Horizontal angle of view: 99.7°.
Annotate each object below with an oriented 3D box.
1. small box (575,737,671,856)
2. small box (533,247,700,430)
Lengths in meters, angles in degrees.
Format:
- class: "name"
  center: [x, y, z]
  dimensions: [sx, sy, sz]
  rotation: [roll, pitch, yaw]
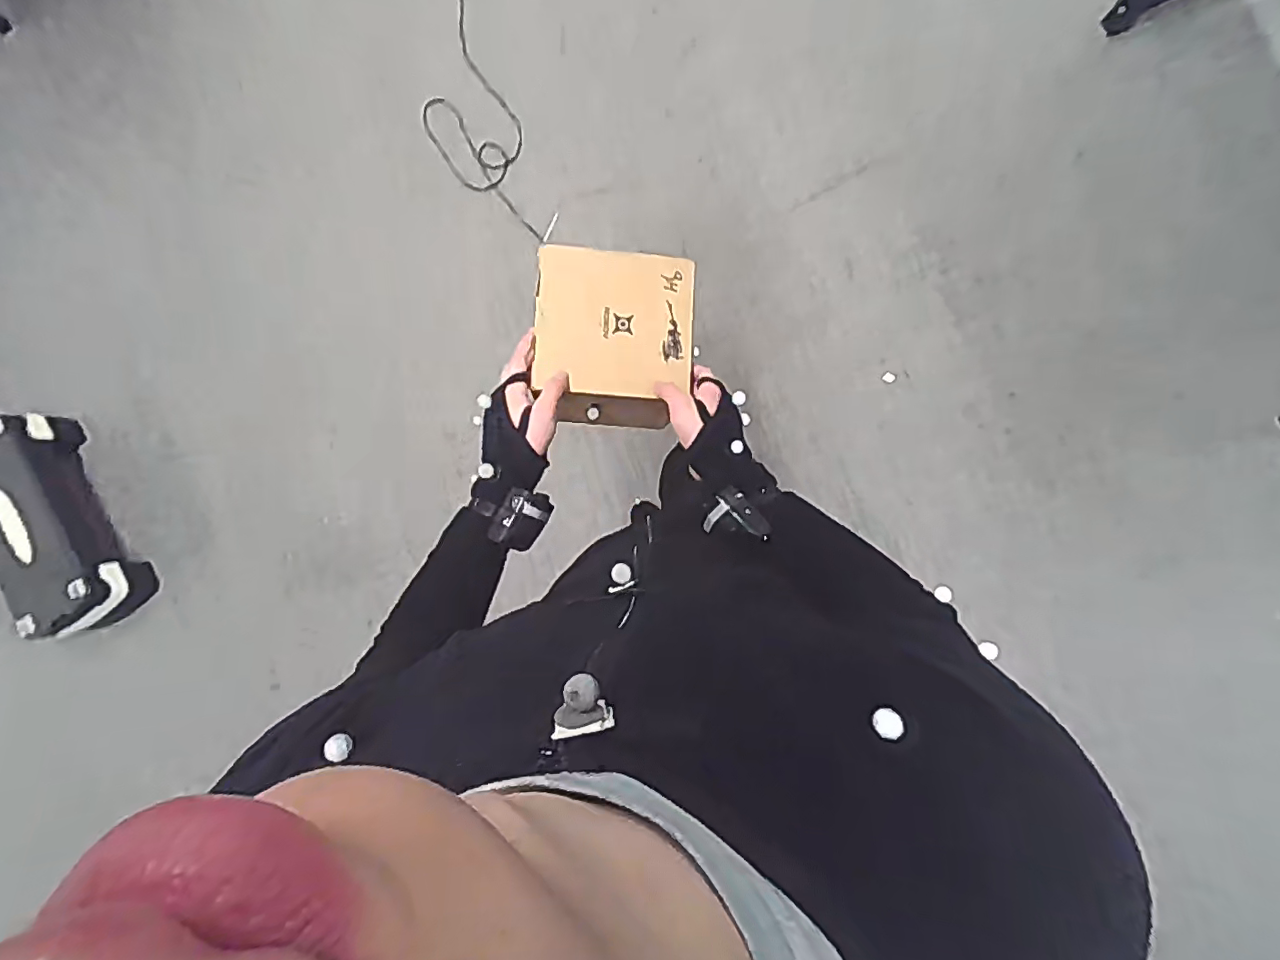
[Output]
- class: "small box"
  center: [-0.033, 0.755, 1.306]
  dimensions: [0.179, 0.176, 0.168]
  rotation: [-20, 87, 6]
- class: "small box"
  center: [-0.032, -0.162, 0.674]
  dimensions: [0.179, 0.176, 0.168]
  rotation: [4, 84, -6]
